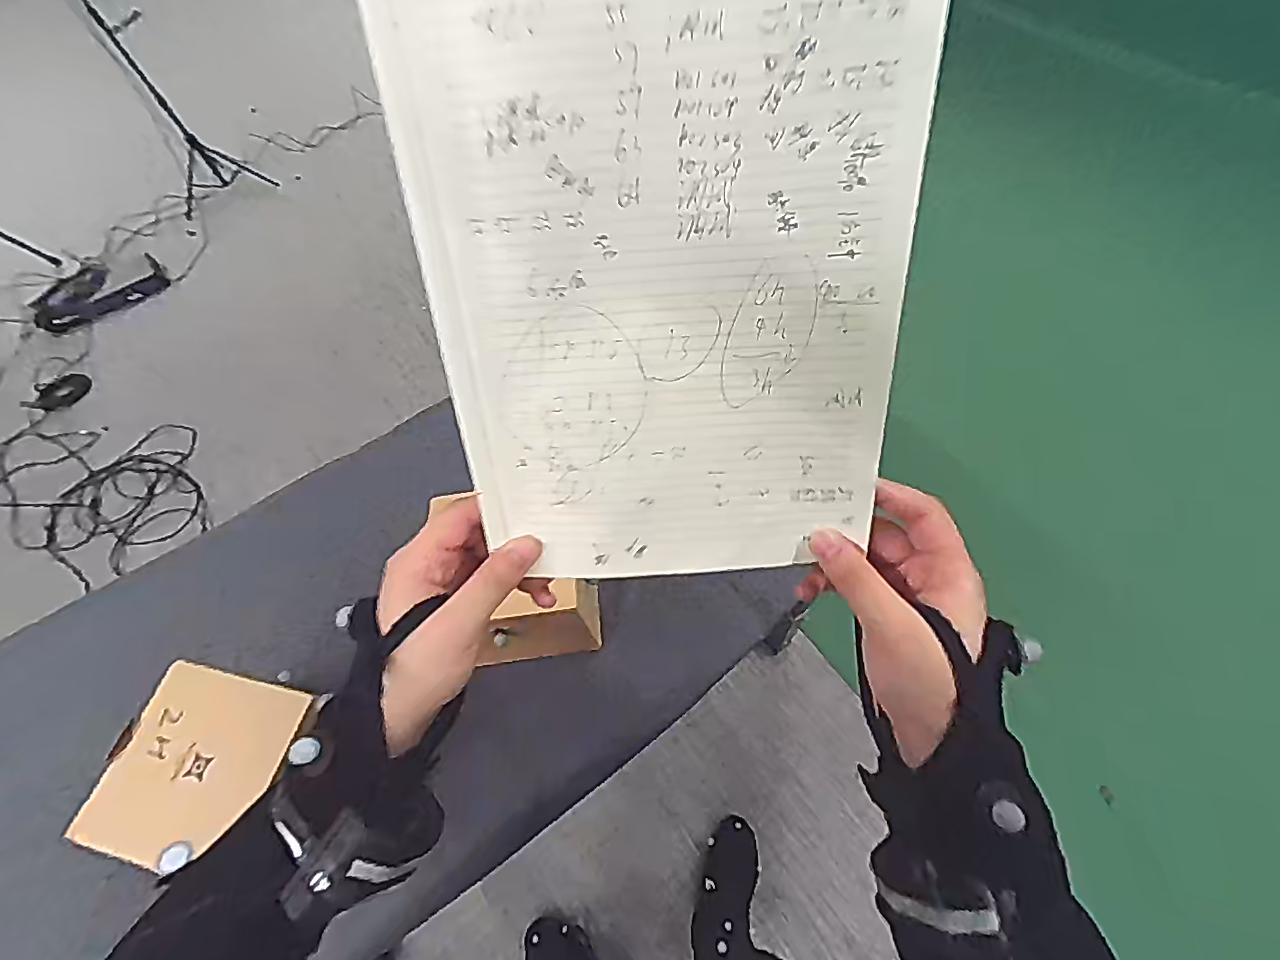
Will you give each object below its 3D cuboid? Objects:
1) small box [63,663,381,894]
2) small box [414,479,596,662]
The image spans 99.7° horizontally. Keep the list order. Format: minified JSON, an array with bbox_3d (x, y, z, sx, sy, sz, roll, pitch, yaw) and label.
[{"bbox_3d":[-0.423,0.315,0.587,0.179,0.176,0.168,9,61,11],"label":"small box"},{"bbox_3d":[-0.153,0.119,0.674,0.179,0.176,0.168,-9,59,2],"label":"small box"}]
